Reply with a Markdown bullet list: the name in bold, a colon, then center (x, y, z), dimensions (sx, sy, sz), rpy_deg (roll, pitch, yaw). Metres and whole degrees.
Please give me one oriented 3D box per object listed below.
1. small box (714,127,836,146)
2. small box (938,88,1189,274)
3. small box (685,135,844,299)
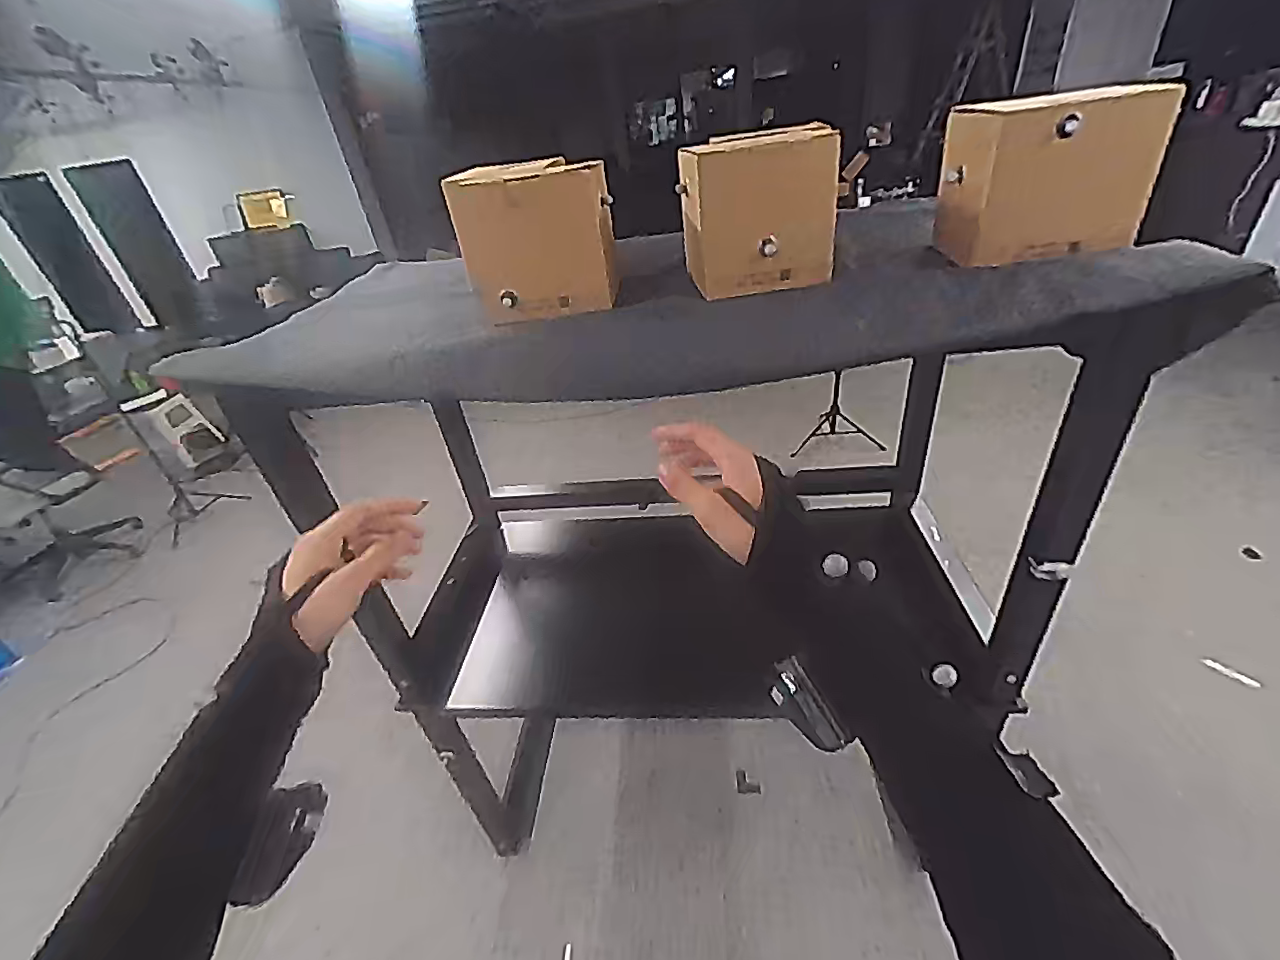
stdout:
- **small box**: center (0.213, -0.474, 0.896), dimensions (0.179, 0.176, 0.168), rpy_deg (-2, 33, 9)
- **small box**: center (0.484, -0.358, 0.659), dimensions (0.168, 0.176, 0.179), rpy_deg (-2, 33, 11)
- **small box**: center (0.154, -0.352, 0.723), dimensions (0.168, 0.176, 0.179), rpy_deg (-8, 34, 1)
